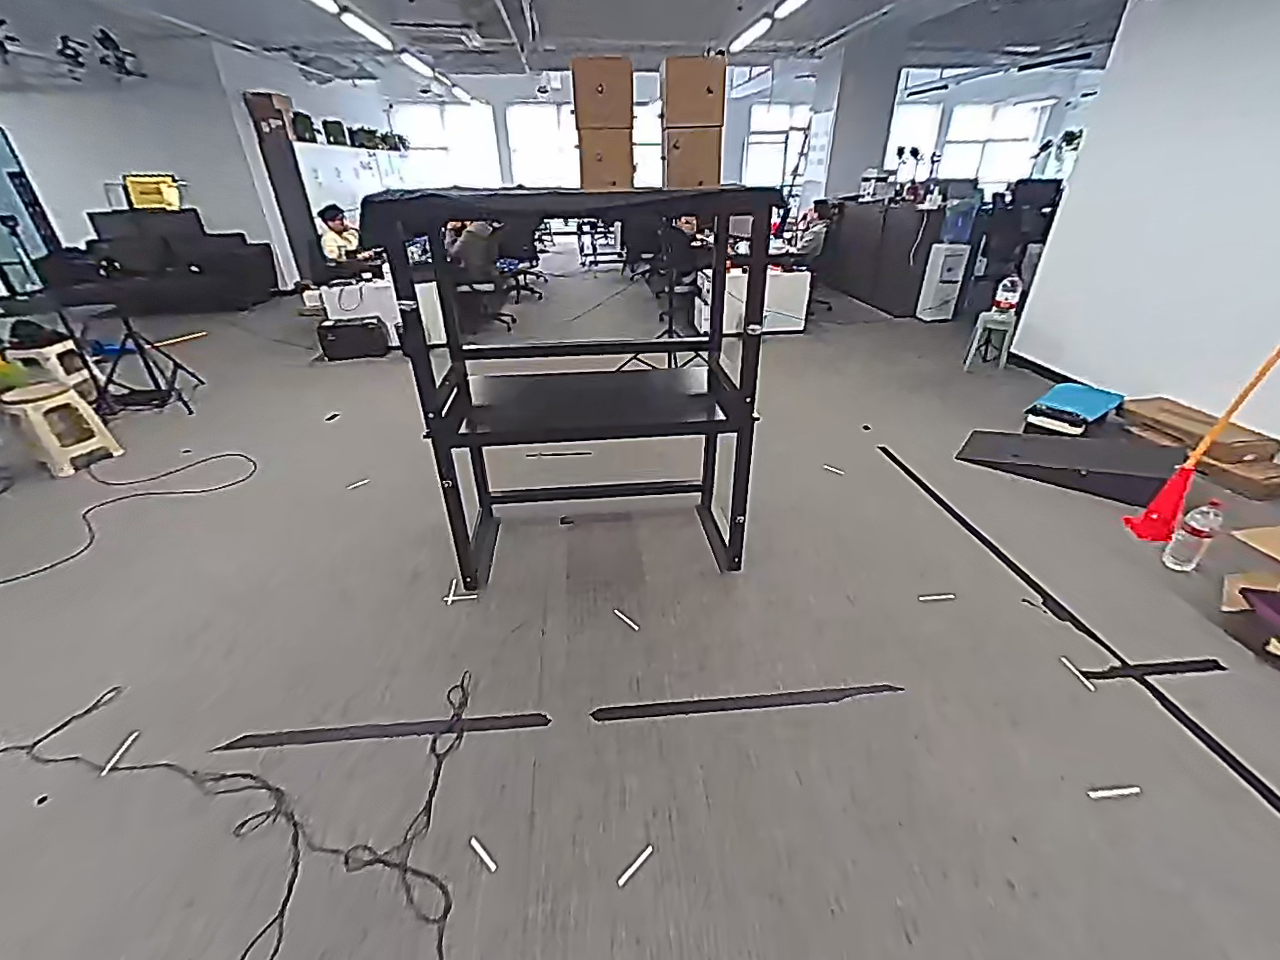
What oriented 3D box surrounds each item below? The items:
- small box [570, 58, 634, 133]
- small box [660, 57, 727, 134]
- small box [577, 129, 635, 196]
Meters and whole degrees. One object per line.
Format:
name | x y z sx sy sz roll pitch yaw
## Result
small box | -0.107 -1.128 1.603 0.179 0.176 0.168 -3 28 -1
small box | 0.154 -1.137 1.610 0.179 0.176 0.168 -4 27 -3
small box | -0.103 -0.988 1.691 0.168 0.176 0.179 -2 28 -2
